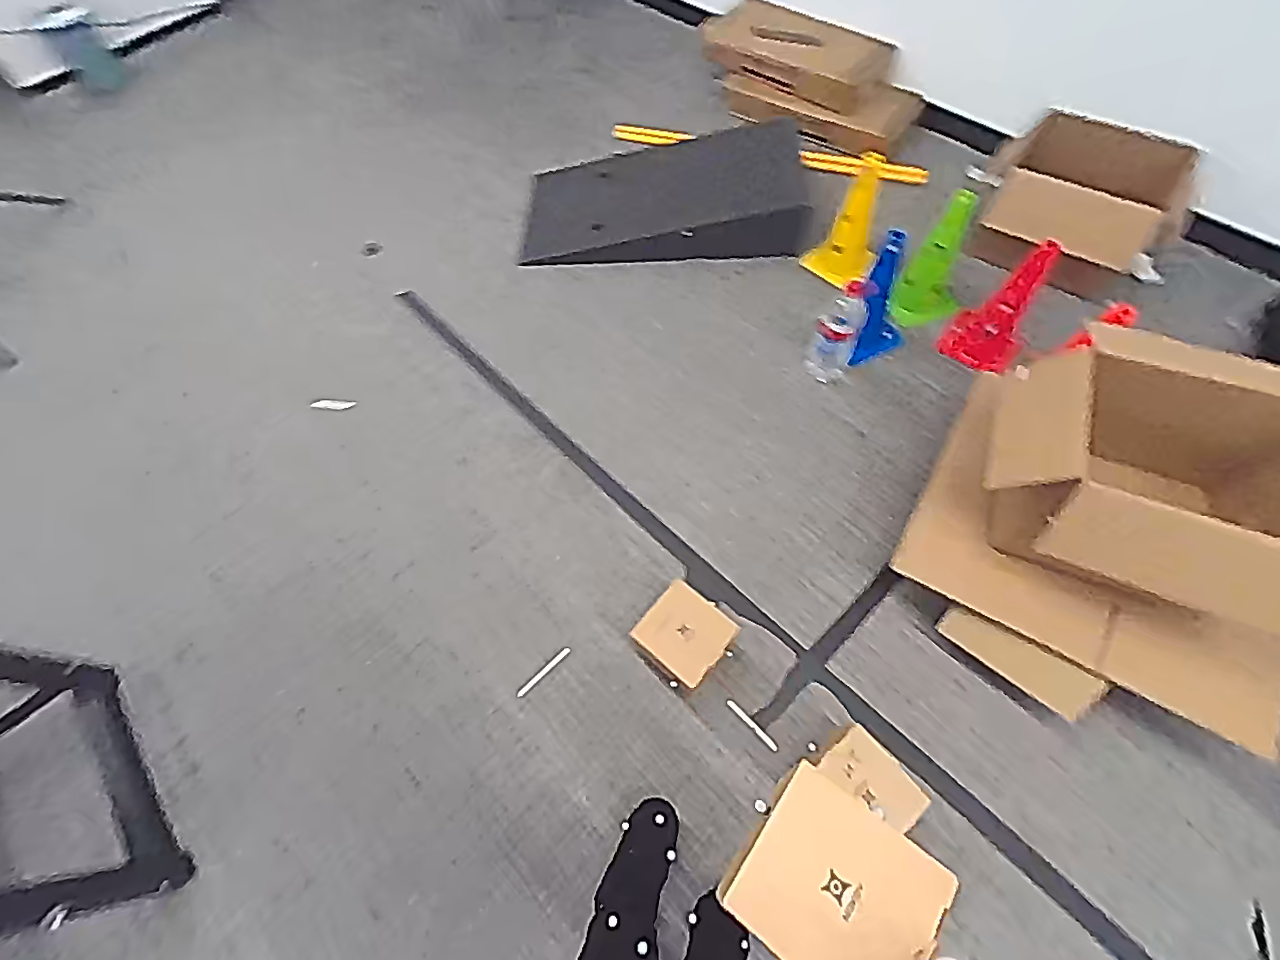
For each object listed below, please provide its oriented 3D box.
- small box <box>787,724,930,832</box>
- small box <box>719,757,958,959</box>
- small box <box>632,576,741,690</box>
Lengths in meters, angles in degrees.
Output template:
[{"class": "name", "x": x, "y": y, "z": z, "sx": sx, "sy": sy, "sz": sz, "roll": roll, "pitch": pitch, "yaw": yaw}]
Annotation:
[{"class": "small box", "x": 0.418, "y": 0.608, "z": 1.068, "sx": 0.168, "sy": 0.176, "sz": 0.179, "roll": -37, "pitch": 67, "yaw": -14}, {"class": "small box", "x": 0.202, "y": 0.446, "z": 0.598, "sx": 0.179, "sy": 0.176, "sz": 0.168, "roll": 32, "pitch": 64, "yaw": 22}, {"class": "small box", "x": 0.104, "y": 0.351, "z": 1.218, "sx": 0.179, "sy": 0.176, "sz": 0.168, "roll": 37, "pitch": 71, "yaw": 21}]
